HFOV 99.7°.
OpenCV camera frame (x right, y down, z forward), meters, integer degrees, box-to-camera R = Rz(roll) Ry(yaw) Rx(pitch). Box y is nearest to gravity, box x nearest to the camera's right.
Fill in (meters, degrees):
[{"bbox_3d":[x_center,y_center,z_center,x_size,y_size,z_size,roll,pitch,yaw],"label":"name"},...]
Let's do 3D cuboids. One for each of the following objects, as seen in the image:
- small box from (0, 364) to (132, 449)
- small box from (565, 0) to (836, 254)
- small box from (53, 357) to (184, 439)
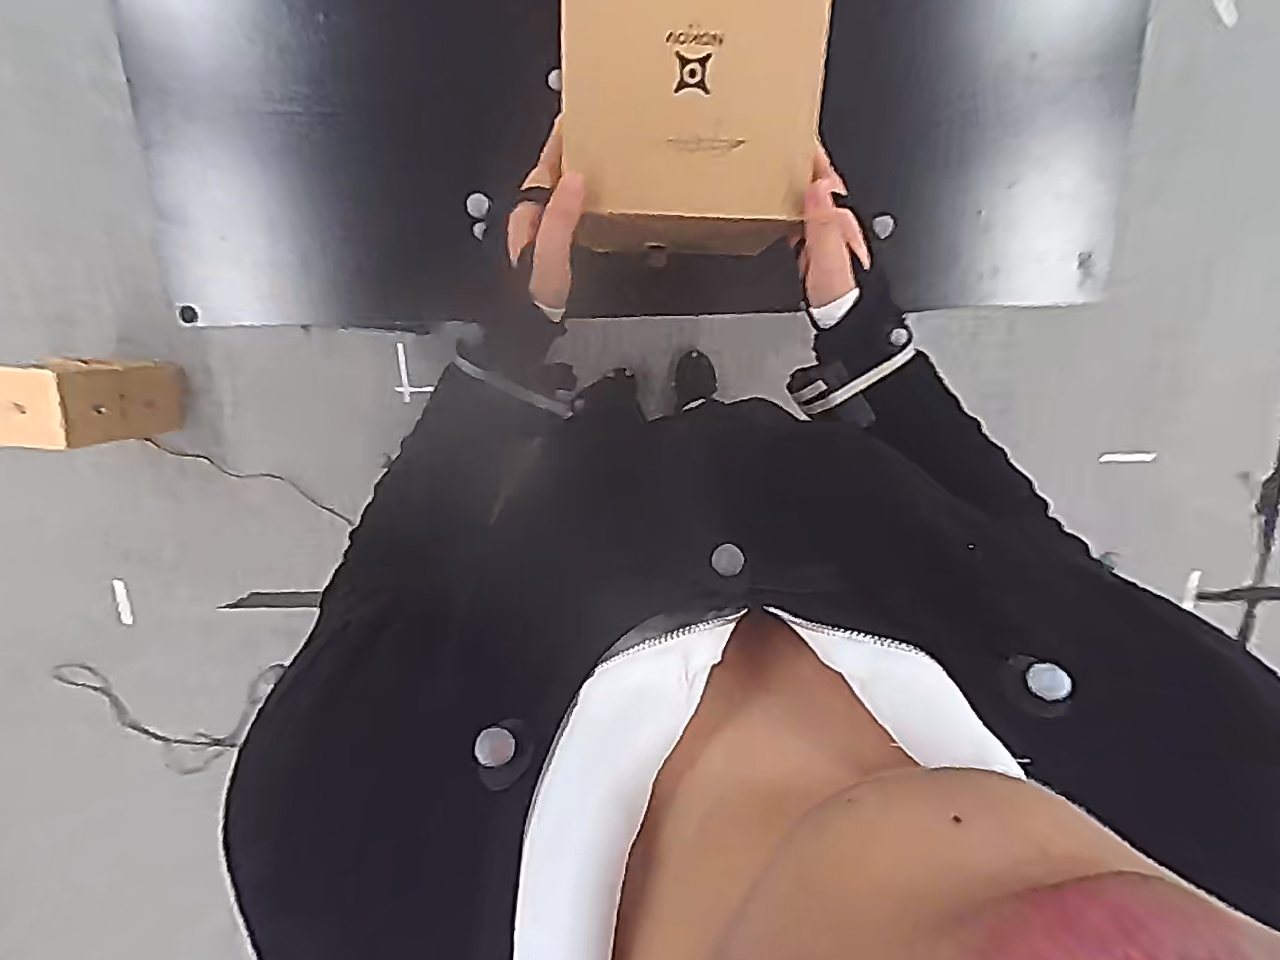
[{"bbox_3d":[-1.269,-0.166,1.185,0.179,0.176,0.168,4,101,-2],"label":"small box"},{"bbox_3d":[0.035,-0.283,0.414,0.168,0.176,0.179,3,106,-1],"label":"small box"},{"bbox_3d":[-1.283,-0.208,1.344,0.168,0.176,0.179,7,103,-2],"label":"small box"}]
